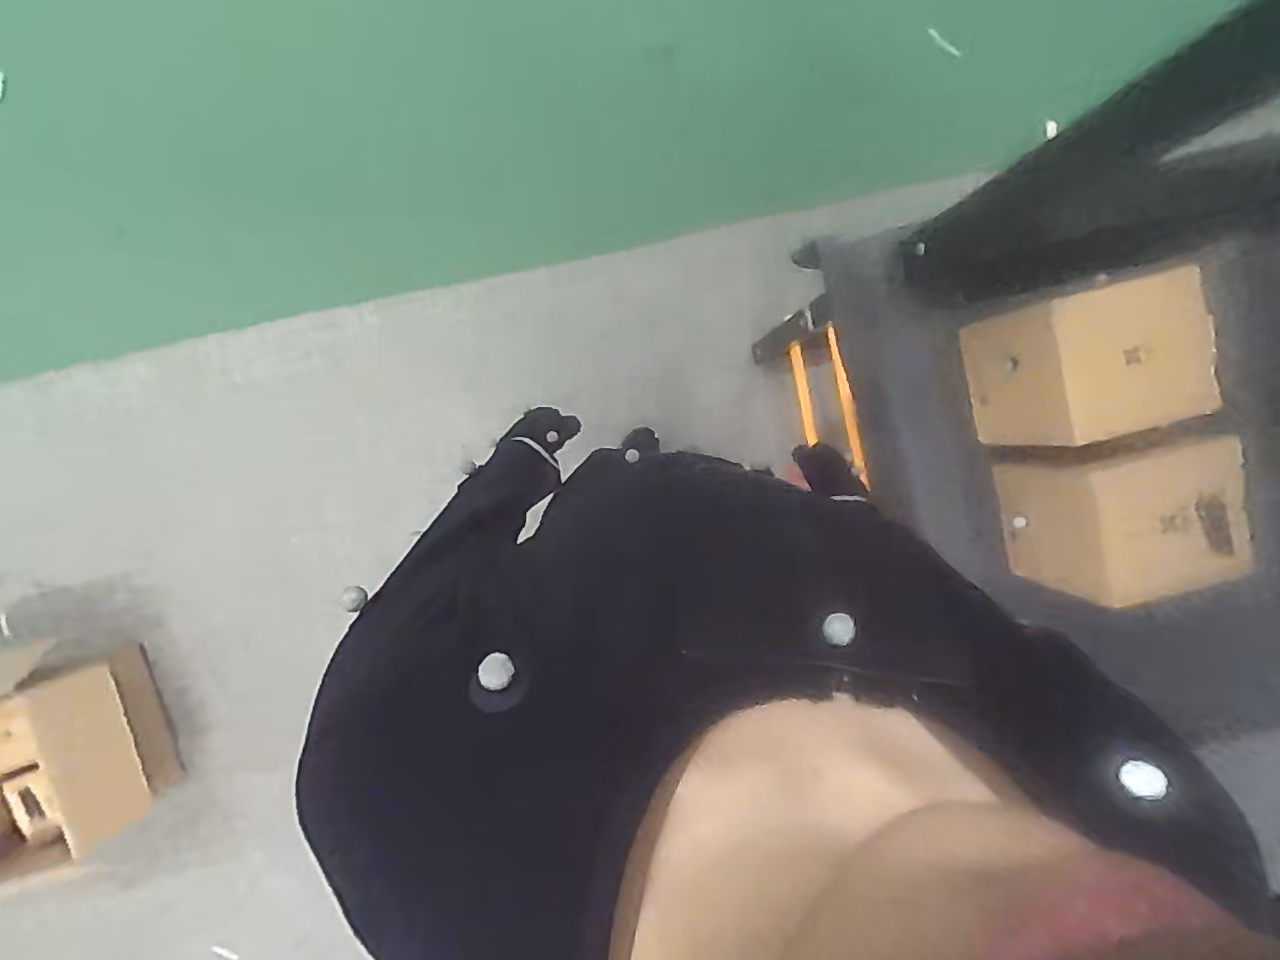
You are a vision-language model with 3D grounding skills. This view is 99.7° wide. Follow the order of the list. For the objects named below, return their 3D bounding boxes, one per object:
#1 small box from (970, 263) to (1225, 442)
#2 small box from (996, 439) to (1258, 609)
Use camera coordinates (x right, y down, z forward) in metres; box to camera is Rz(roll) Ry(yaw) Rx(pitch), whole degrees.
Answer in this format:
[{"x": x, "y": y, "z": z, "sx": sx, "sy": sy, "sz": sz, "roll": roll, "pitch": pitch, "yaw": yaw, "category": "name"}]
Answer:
[{"x": 0.545, "y": -0.144, "z": 0.673, "sx": 0.179, "sy": 0.176, "sz": 0.168, "roll": -14, "pitch": 95, "yaw": -2, "category": "small box"}, {"x": 0.603, "y": 0.043, "z": 0.689, "sx": 0.179, "sy": 0.176, "sz": 0.168, "roll": -13, "pitch": 94, "yaw": -1, "category": "small box"}]
